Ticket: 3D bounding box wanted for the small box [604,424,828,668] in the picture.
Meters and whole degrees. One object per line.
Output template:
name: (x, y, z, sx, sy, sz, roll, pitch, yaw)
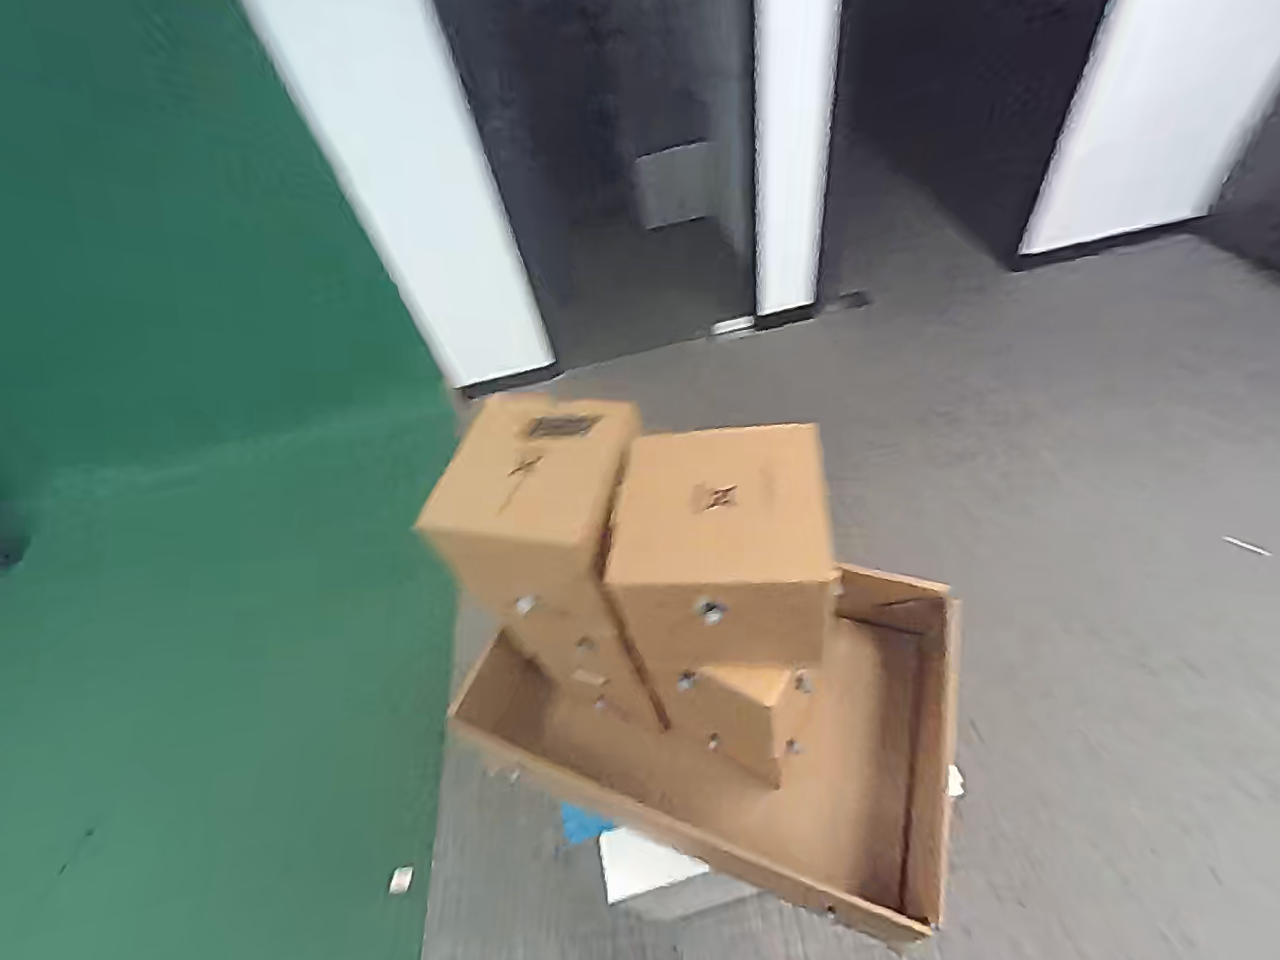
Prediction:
small box: (0.084, 0.067, 0.520, 0.179, 0.176, 0.168, -2, 48, 15)
